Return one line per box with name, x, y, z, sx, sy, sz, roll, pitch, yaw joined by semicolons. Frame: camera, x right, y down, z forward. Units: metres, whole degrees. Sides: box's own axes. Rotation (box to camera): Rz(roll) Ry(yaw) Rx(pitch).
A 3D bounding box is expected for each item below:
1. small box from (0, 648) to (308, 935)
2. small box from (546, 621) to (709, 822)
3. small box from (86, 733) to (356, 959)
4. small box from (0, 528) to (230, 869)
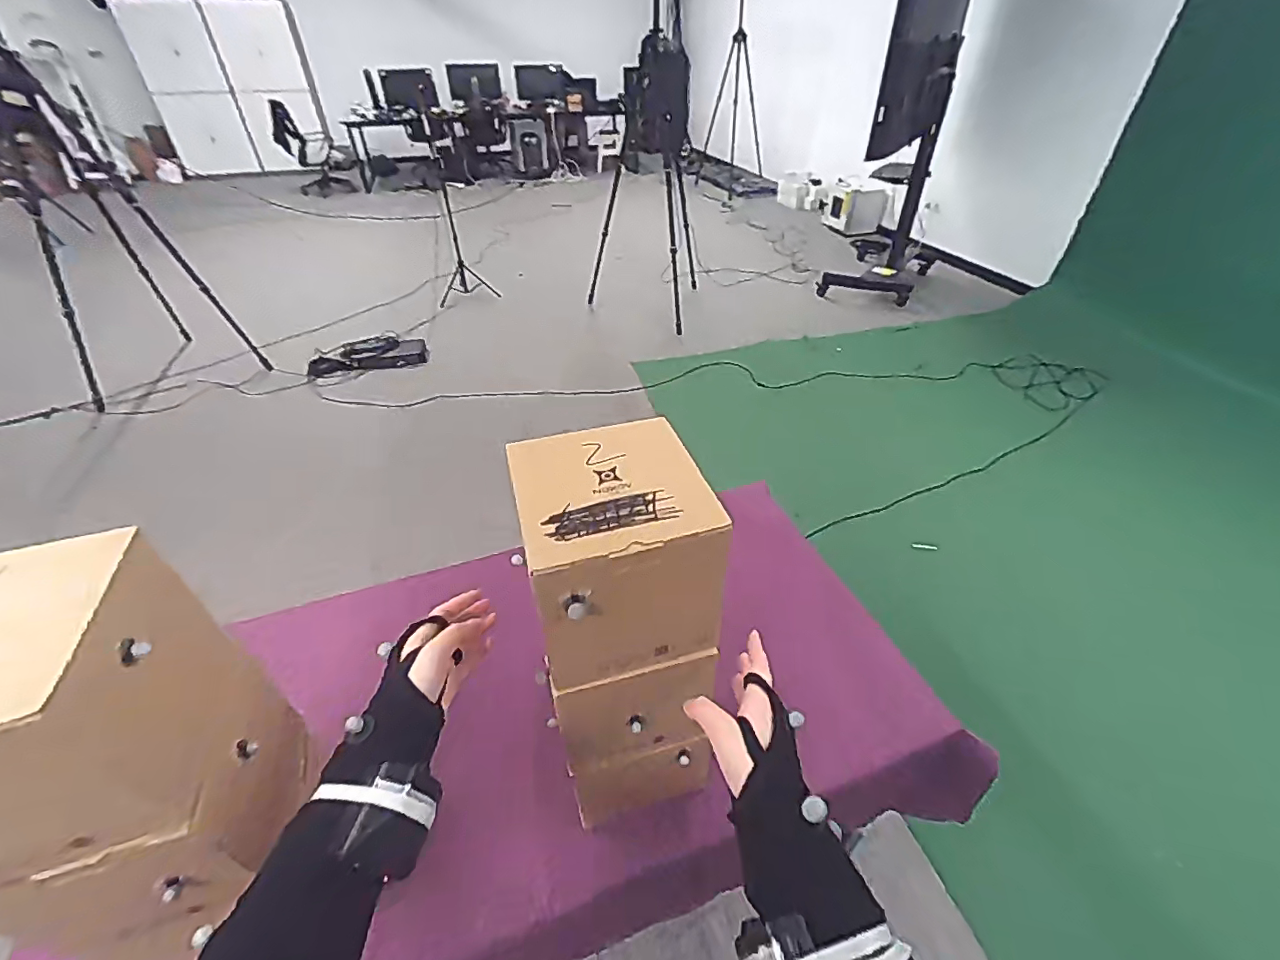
small box;-0.449;0.299;0.519;0.168;0.176;0.179;-11;40;-12
small box;-0.019;0.326;0.731;0.179;0.176;0.168;-12;40;-13
small box;-0.445;0.428;0.619;0.179;0.176;0.168;-12;40;-14
small box;-0.459;0.170;0.417;0.168;0.176;0.179;-13;40;-15
